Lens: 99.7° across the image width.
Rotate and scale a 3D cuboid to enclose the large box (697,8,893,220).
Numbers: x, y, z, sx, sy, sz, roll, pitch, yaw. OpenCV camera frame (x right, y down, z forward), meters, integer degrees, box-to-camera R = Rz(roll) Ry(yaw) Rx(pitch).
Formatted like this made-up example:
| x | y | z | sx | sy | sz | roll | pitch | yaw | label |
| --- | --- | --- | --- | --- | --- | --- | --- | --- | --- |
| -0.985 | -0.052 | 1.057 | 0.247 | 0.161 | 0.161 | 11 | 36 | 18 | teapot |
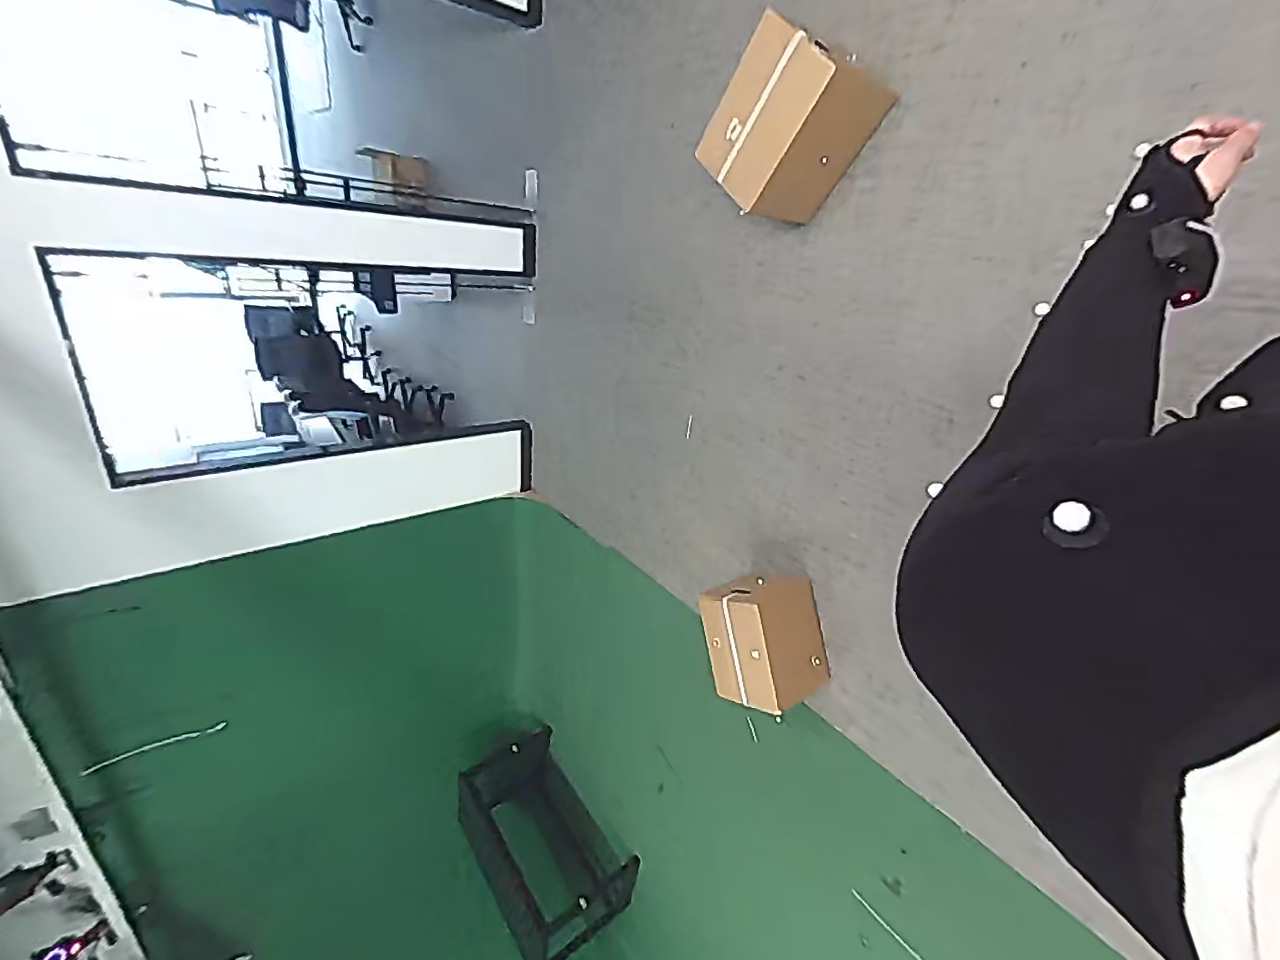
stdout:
| x | y | z | sx | sy | sz | roll | pitch | yaw | label |
| --- | --- | --- | --- | --- | --- | --- | --- | --- | --- |
| 0.445 | -1.056 | 1.605 | 0.320 | 0.320 | 0.408 | 60 | 141 | 22 | large box |
